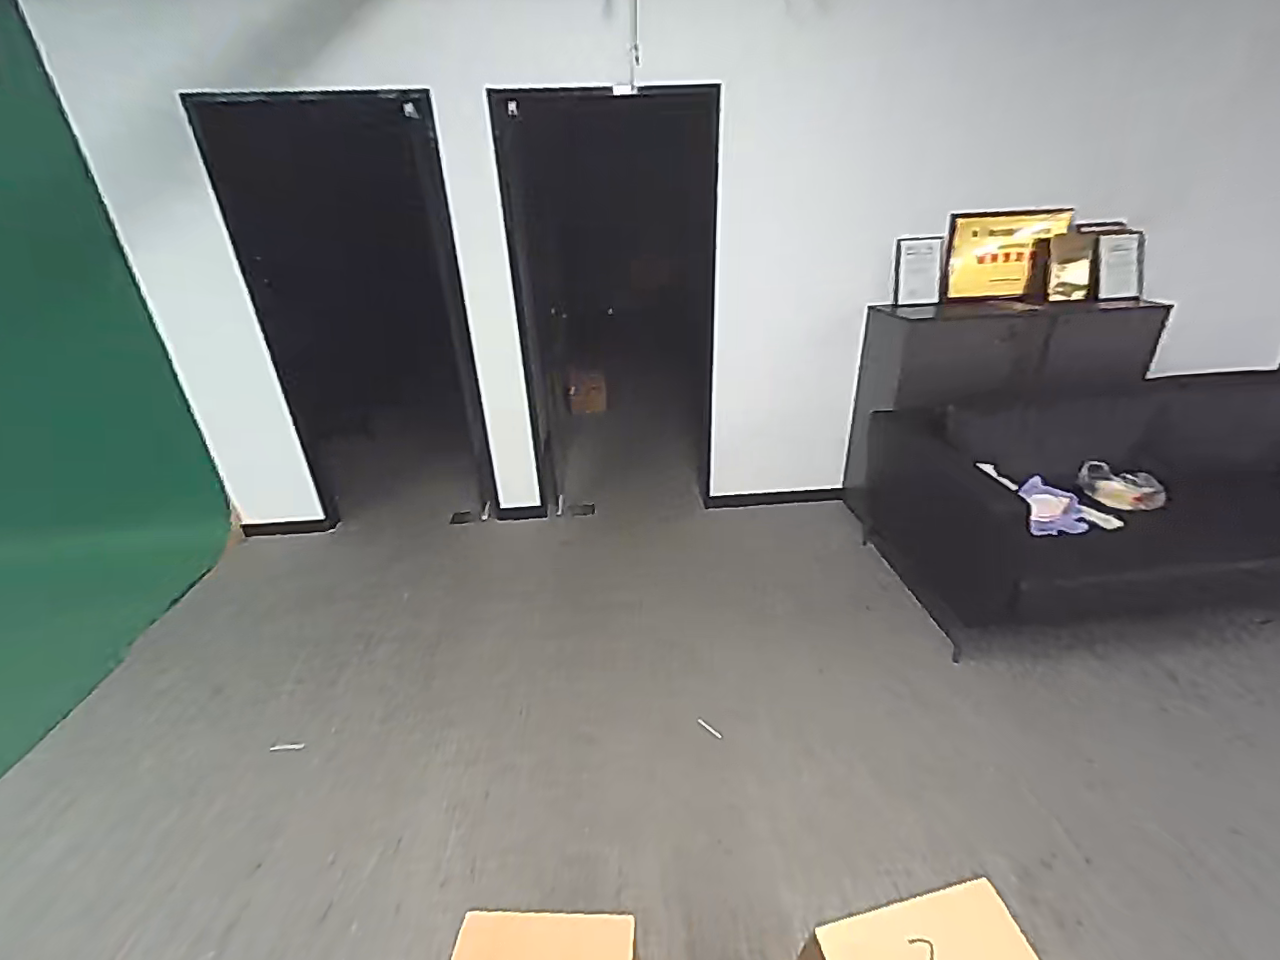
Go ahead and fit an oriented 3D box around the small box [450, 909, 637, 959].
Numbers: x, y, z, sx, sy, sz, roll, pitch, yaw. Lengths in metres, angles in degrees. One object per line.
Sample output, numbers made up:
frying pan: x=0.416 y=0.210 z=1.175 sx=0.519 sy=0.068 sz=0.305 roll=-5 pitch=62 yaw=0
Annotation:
small box: x=-0.088 y=0.518 z=0.463 sx=0.168 sy=0.176 sz=0.179 roll=-2 pitch=21 yaw=4
